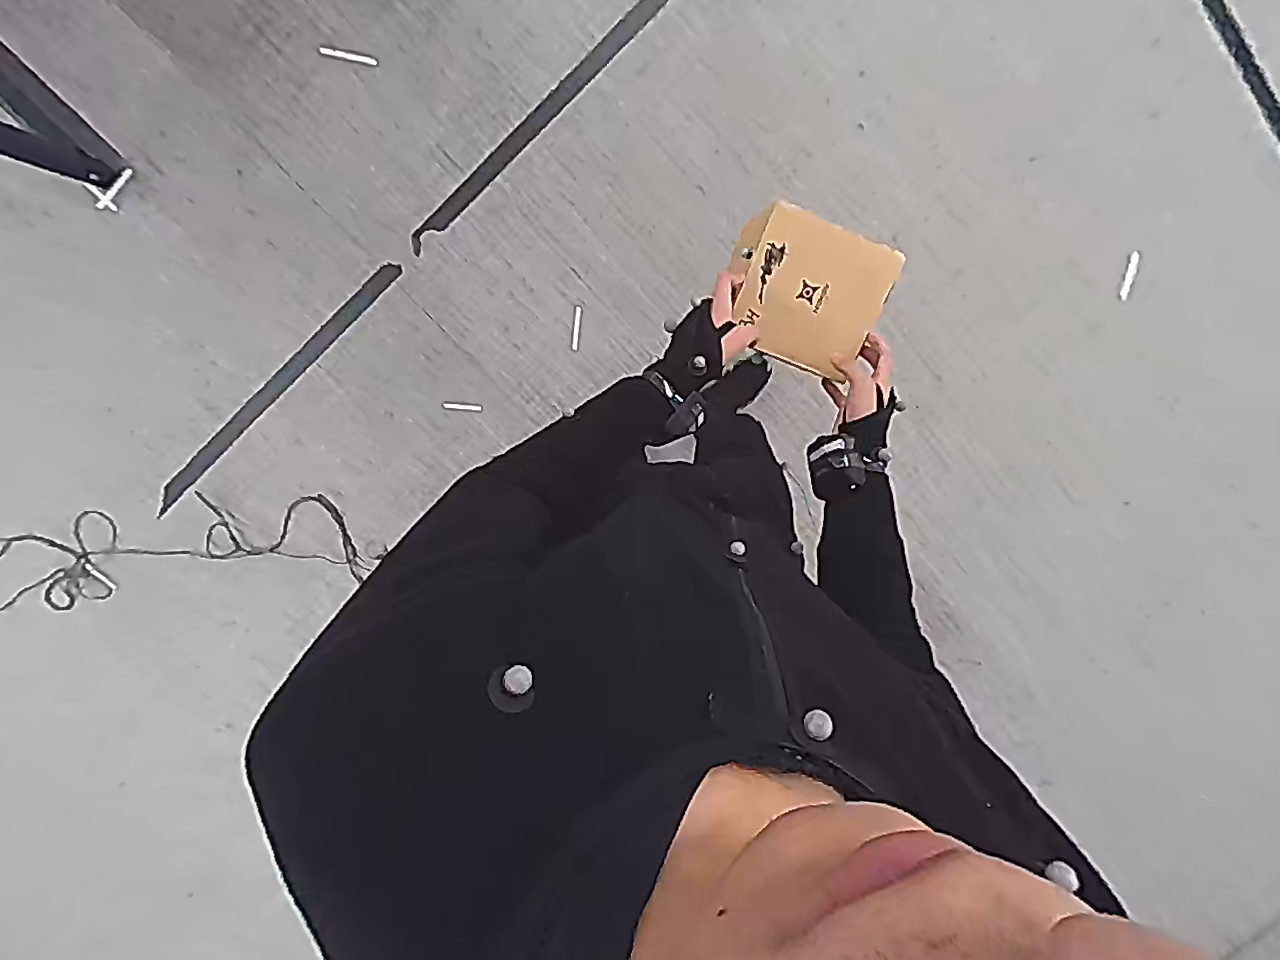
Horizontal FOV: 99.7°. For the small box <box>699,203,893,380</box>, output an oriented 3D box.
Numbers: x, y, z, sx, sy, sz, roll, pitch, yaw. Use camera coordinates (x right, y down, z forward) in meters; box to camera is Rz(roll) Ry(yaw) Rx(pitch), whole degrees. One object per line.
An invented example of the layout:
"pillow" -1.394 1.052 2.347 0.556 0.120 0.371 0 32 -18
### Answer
"small box" 0.199 -0.255 0.747 0.179 0.176 0.168 19 107 -8
